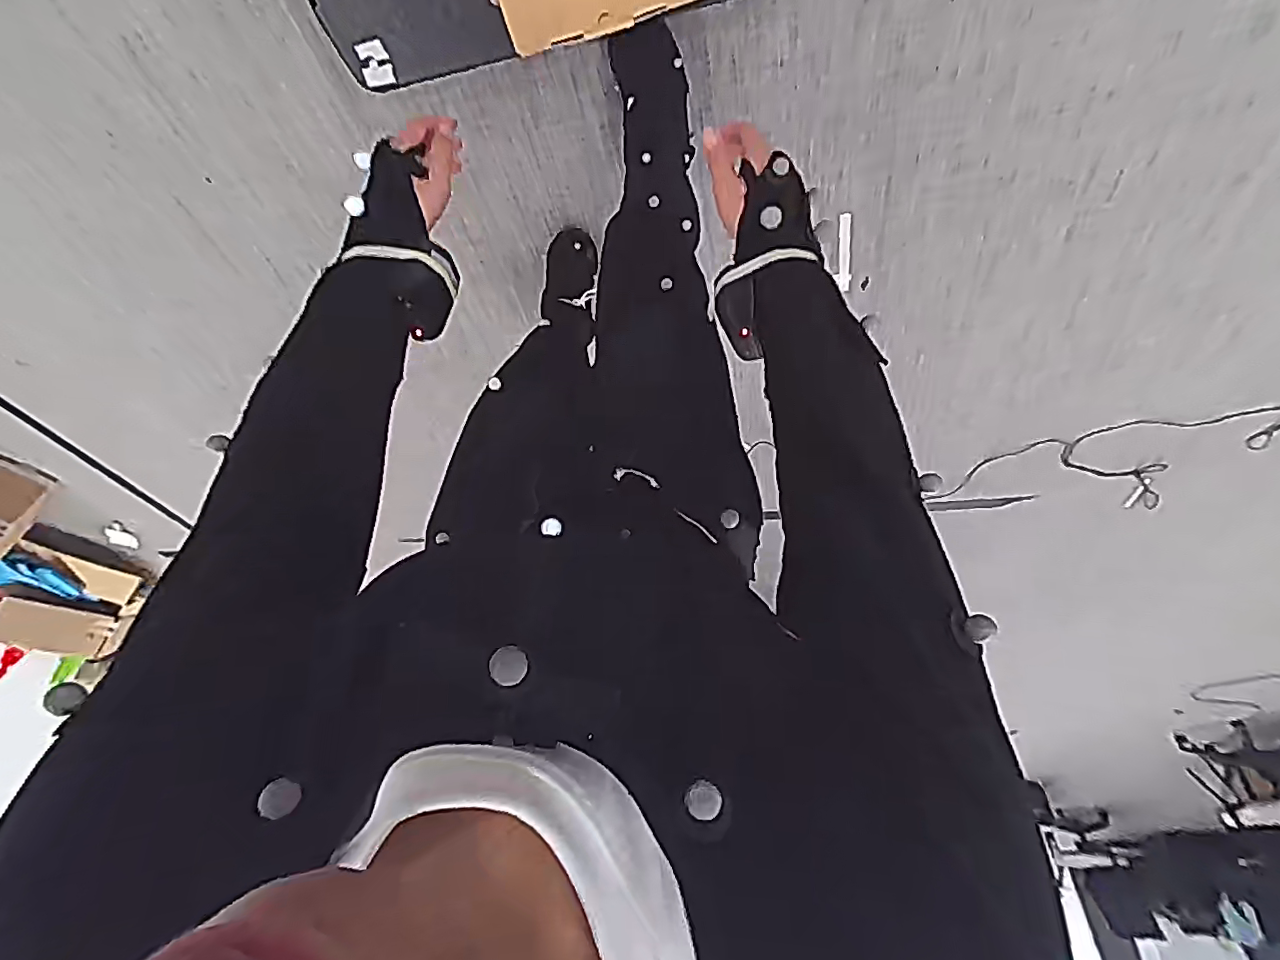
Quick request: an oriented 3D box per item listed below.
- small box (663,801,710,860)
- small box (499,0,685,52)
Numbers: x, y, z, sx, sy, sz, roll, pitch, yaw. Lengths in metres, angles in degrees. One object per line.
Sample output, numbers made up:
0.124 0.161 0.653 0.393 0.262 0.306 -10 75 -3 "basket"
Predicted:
0.185 1.356 2.093 0.168 0.176 0.179 -5 140 10 "small box"
-0.046 -0.497 0.440 0.168 0.176 0.179 -7 140 13 "small box"
